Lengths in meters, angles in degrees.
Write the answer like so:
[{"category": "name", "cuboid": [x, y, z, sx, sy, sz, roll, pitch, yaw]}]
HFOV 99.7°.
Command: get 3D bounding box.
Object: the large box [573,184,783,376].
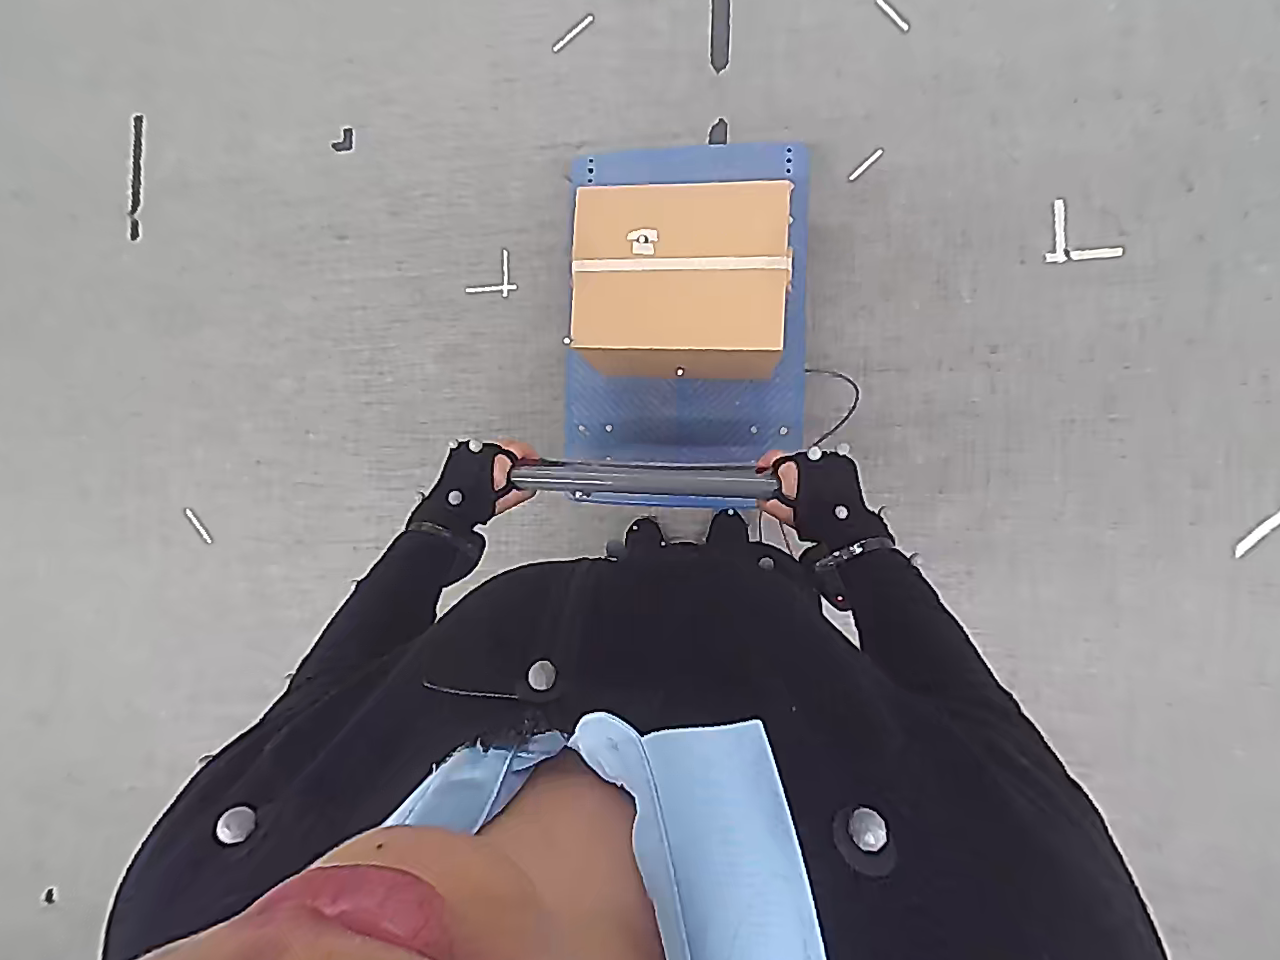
[{"category": "large box", "cuboid": [0.093, -0.406, 1.185, 0.408, 0.320, 0.320, 2, 89, 9]}]
